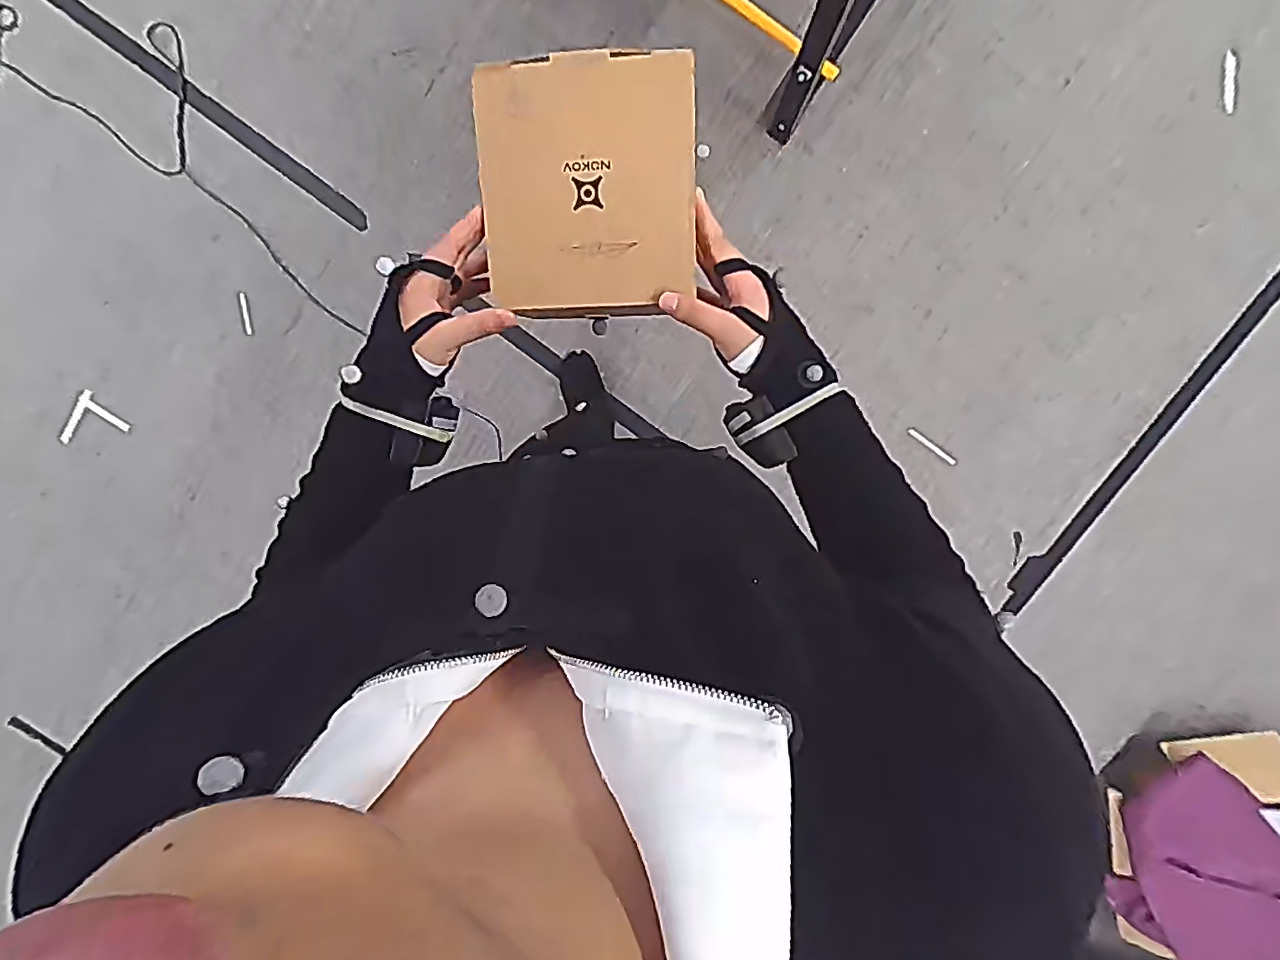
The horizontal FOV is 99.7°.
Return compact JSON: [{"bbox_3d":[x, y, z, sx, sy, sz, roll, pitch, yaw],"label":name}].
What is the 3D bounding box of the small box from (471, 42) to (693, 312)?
[{"bbox_3d":[-0.039,-0.250,0.490,0.168,0.176,0.179,-1,105,3],"label":"small box"}]
